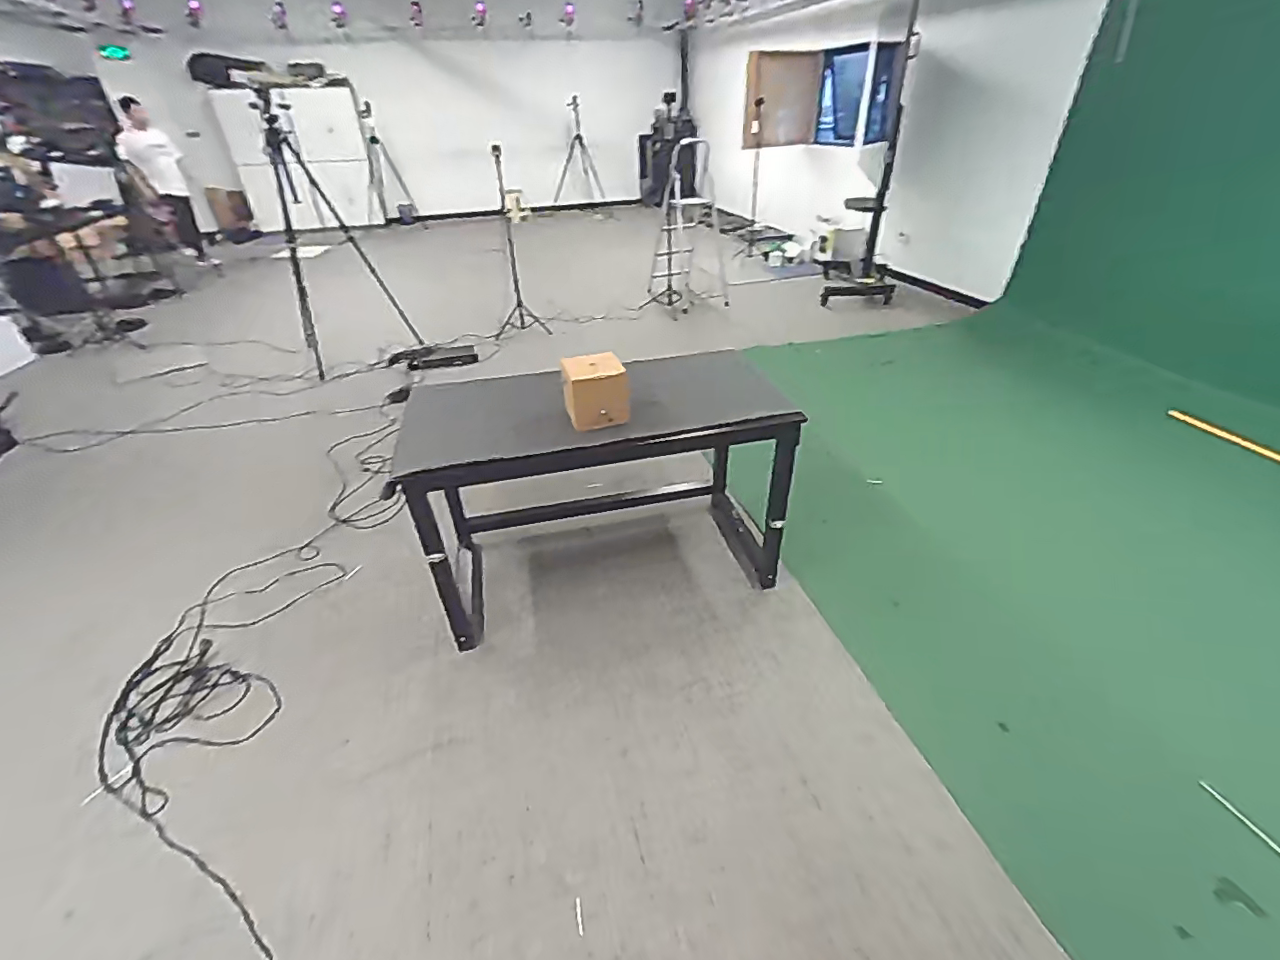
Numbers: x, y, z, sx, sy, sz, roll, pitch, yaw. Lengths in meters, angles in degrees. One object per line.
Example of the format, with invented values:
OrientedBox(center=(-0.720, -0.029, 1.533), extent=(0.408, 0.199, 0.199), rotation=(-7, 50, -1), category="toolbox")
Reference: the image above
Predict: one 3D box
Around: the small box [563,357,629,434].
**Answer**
OrientedBox(center=(-0.134, -0.259, 1.649), extent=(0.168, 0.176, 0.179), rotation=(-11, 34, -13), category="small box")
